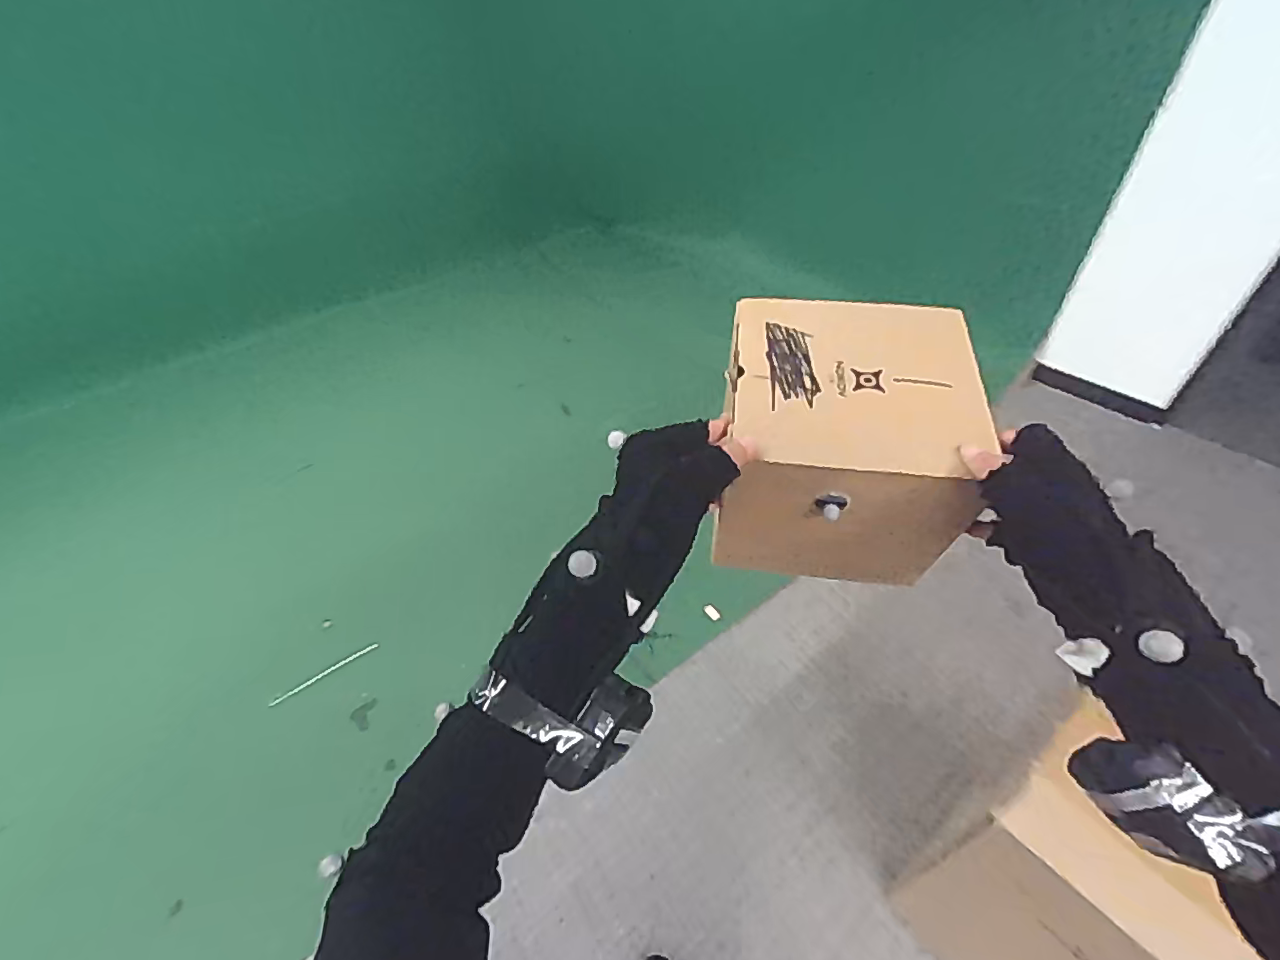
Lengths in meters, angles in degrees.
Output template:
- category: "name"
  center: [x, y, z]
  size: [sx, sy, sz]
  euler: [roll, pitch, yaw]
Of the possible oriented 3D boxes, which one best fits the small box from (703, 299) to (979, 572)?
- category: "small box"
  center: [0.148, -0.032, 0.466]
  size: [0.179, 0.176, 0.168]
  euler: [5, 57, 6]
